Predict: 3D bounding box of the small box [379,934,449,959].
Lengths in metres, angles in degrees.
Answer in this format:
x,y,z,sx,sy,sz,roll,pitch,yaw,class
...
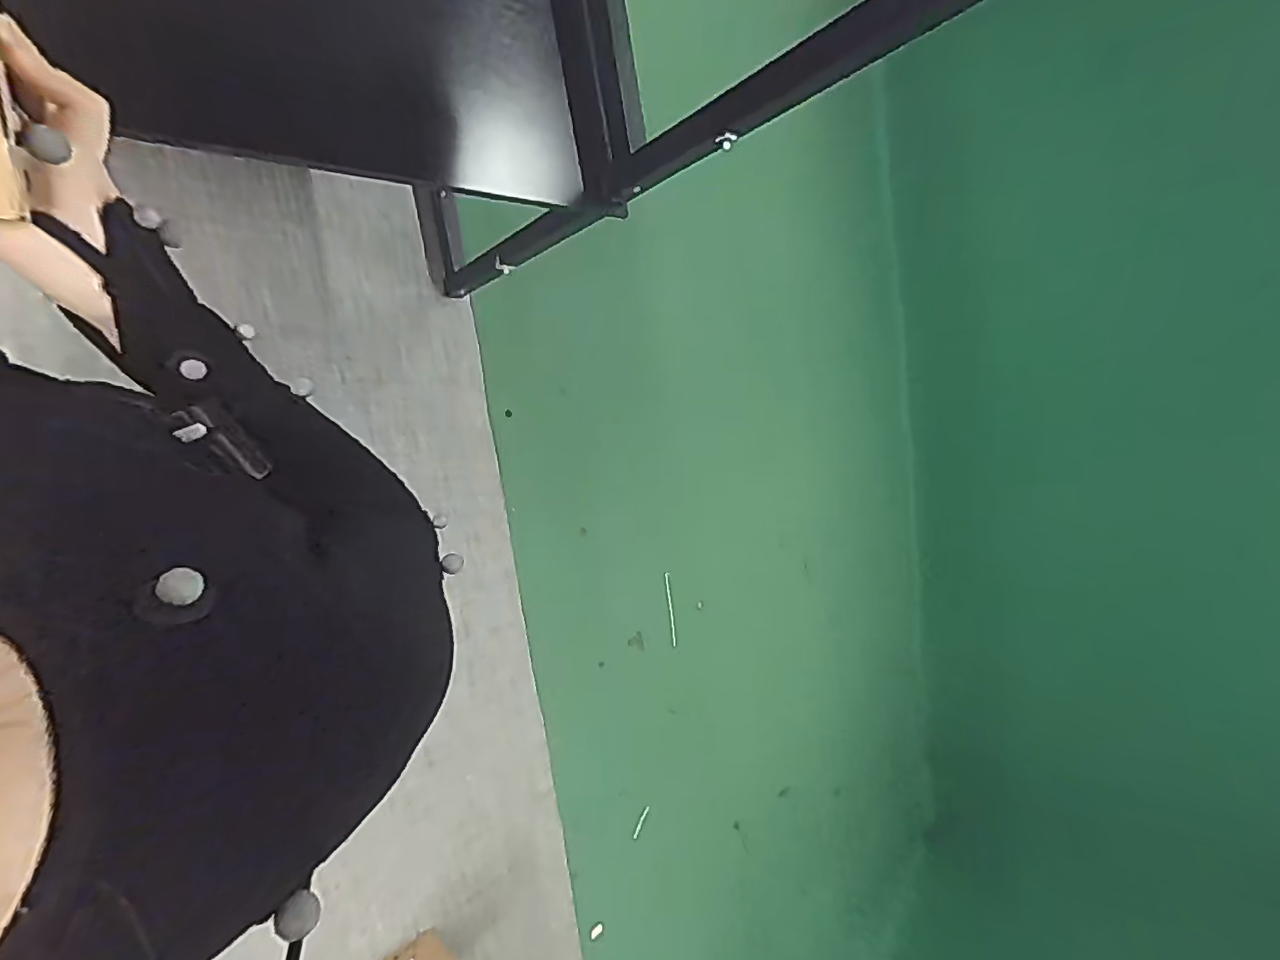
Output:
x,y,z,sx,sy,sz,roll,pitch,yaw,class
-0.609,1.370,1.439,0.168,0.176,0.179,-9,96,-42,small box
